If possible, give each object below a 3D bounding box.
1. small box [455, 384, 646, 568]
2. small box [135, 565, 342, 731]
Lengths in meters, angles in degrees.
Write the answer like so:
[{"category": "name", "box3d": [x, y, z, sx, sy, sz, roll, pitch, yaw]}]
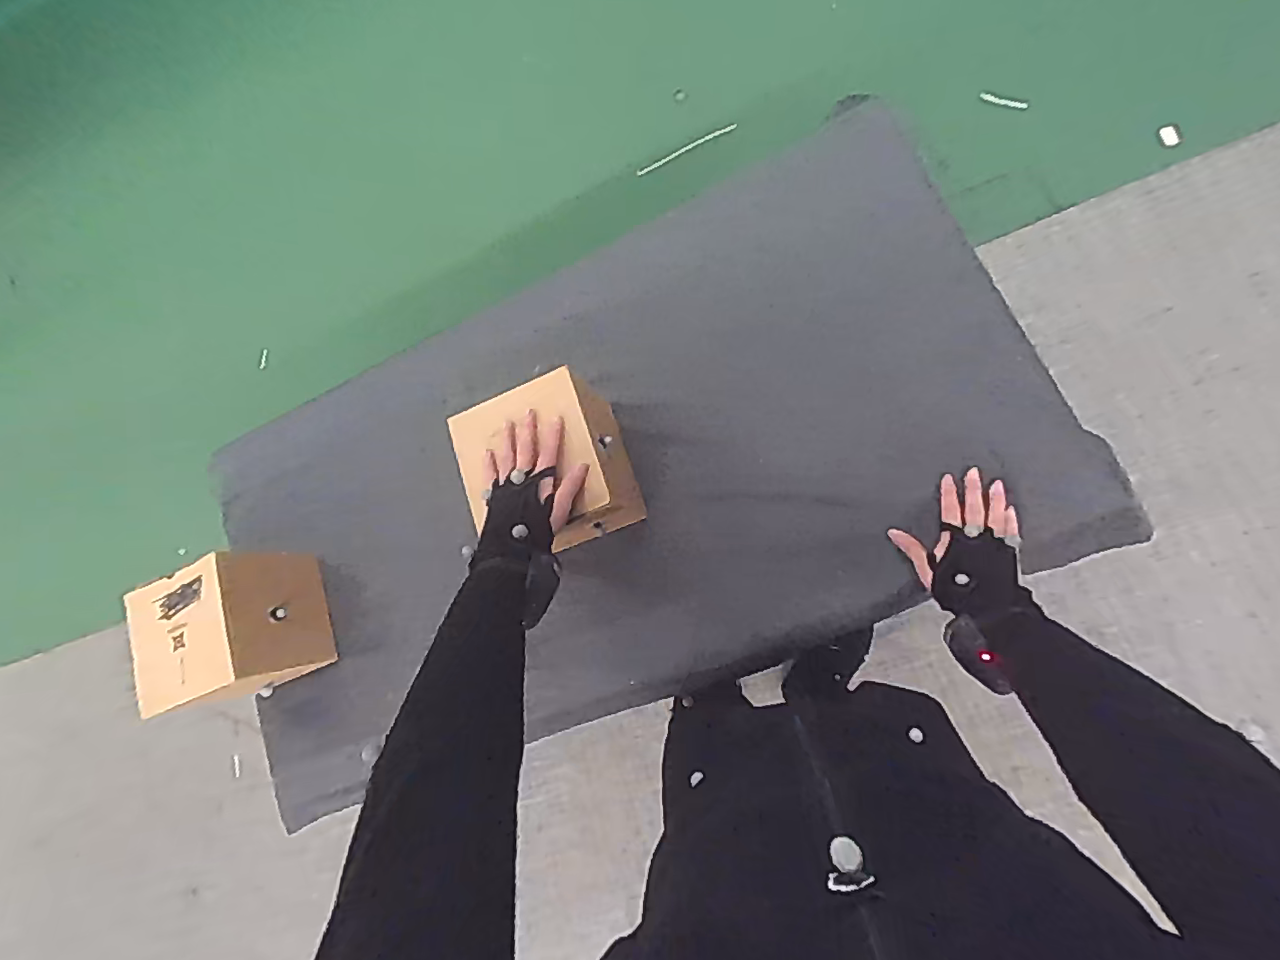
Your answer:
[{"category": "small box", "box3d": [-0.107, 0.005, 0.706, 0.168, 0.176, 0.179, -22, 76, 10]}, {"category": "small box", "box3d": [-0.578, 0.236, 0.793, 0.168, 0.176, 0.179, -24, 76, 10]}]
